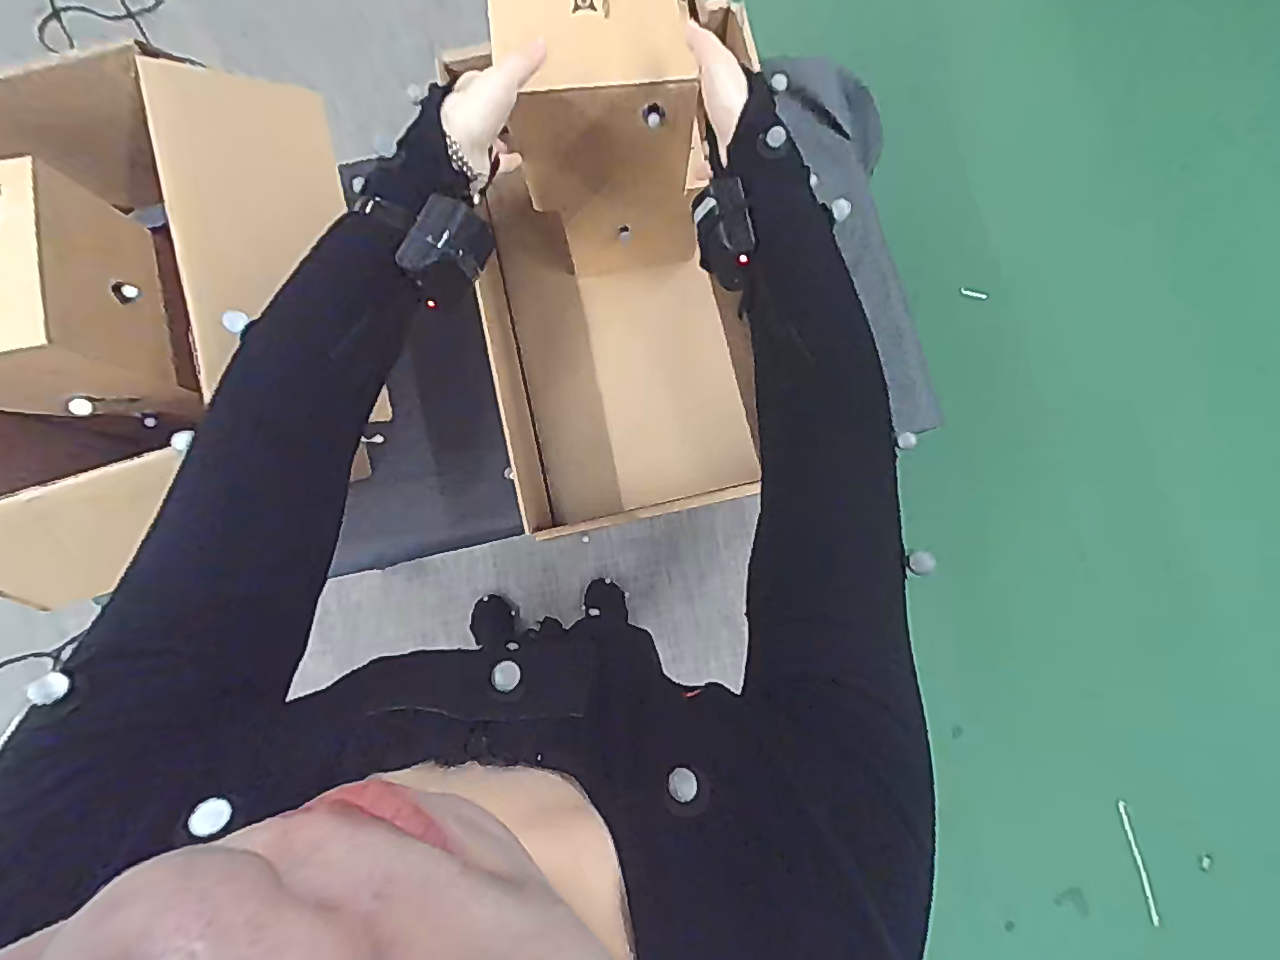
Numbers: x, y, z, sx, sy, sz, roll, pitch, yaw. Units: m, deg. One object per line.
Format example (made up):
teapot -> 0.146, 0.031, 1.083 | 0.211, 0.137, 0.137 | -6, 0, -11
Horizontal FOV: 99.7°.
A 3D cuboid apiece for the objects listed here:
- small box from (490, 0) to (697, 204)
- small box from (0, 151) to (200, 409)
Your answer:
small box -> -0.044, -0.405, 0.548 | 0.179, 0.176, 0.168 | -5, 85, -2
small box -> -0.590, -0.182, 0.538 | 0.168, 0.176, 0.179 | -10, 87, -3
